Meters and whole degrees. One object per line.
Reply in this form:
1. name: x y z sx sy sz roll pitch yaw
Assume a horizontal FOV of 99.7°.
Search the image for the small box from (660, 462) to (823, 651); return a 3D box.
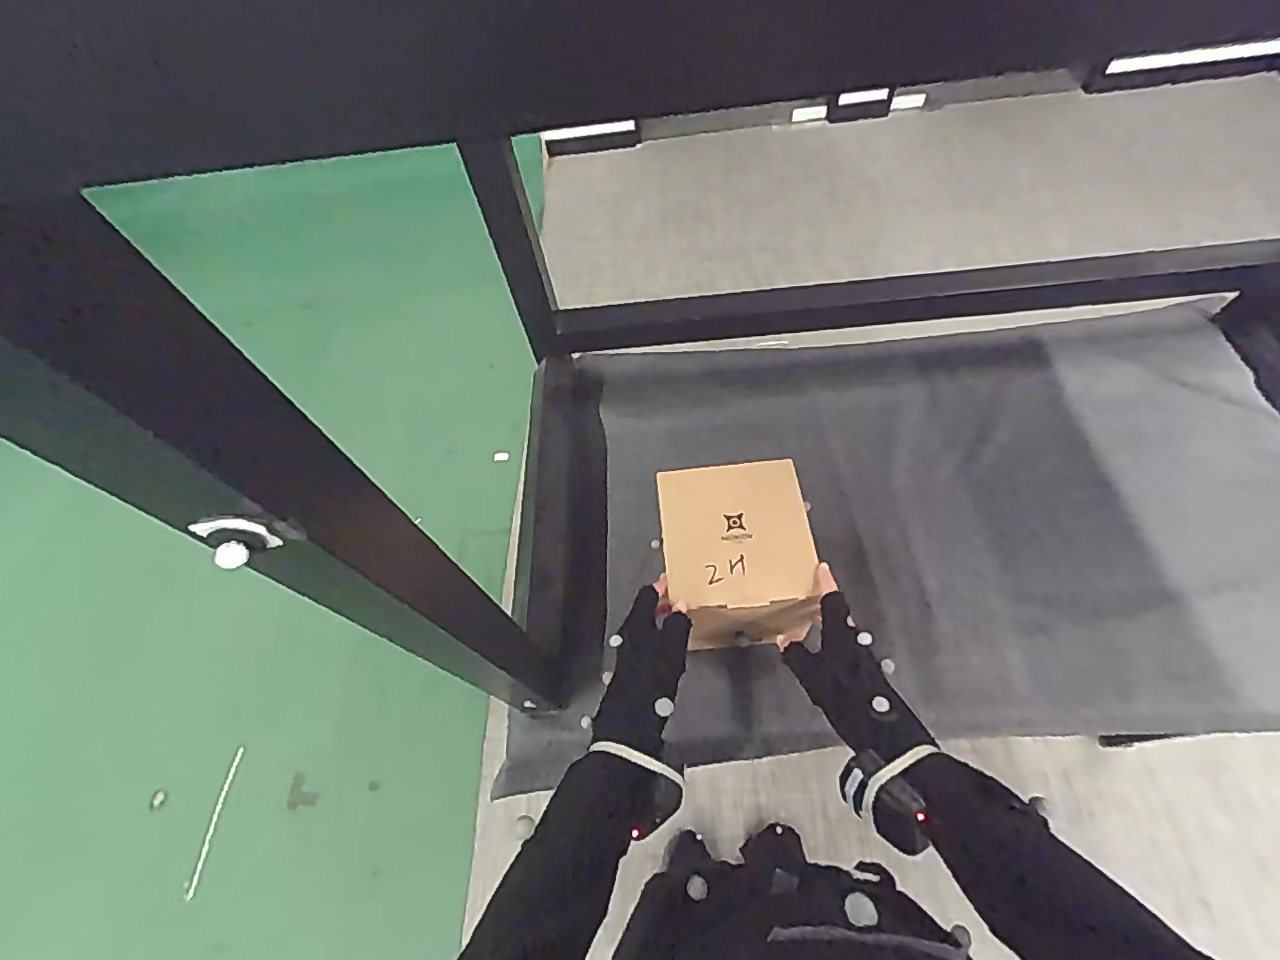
1. small box: 0.114 0.100 0.678 0.168 0.176 0.179 -6 57 4
